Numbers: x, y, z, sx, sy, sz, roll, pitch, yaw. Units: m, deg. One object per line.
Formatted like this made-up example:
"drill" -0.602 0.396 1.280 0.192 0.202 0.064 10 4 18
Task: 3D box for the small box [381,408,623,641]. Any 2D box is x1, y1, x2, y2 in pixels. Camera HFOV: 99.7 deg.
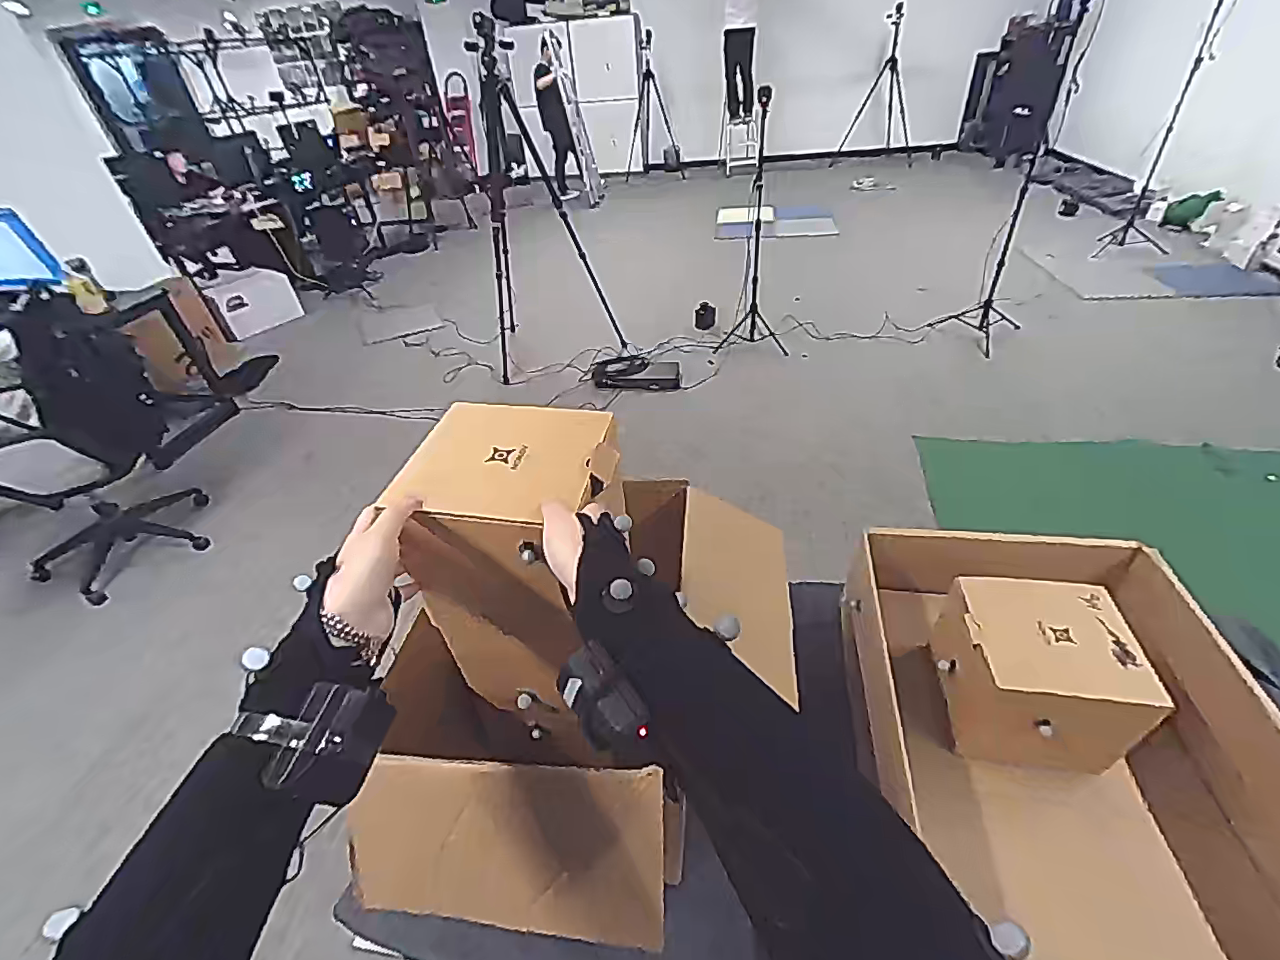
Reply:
"small box" -0.119 0.044 0.550 0.179 0.176 0.168 5 41 8

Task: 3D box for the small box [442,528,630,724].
"small box" -0.110 0.166 0.665 0.168 0.176 0.179 5 42 11
